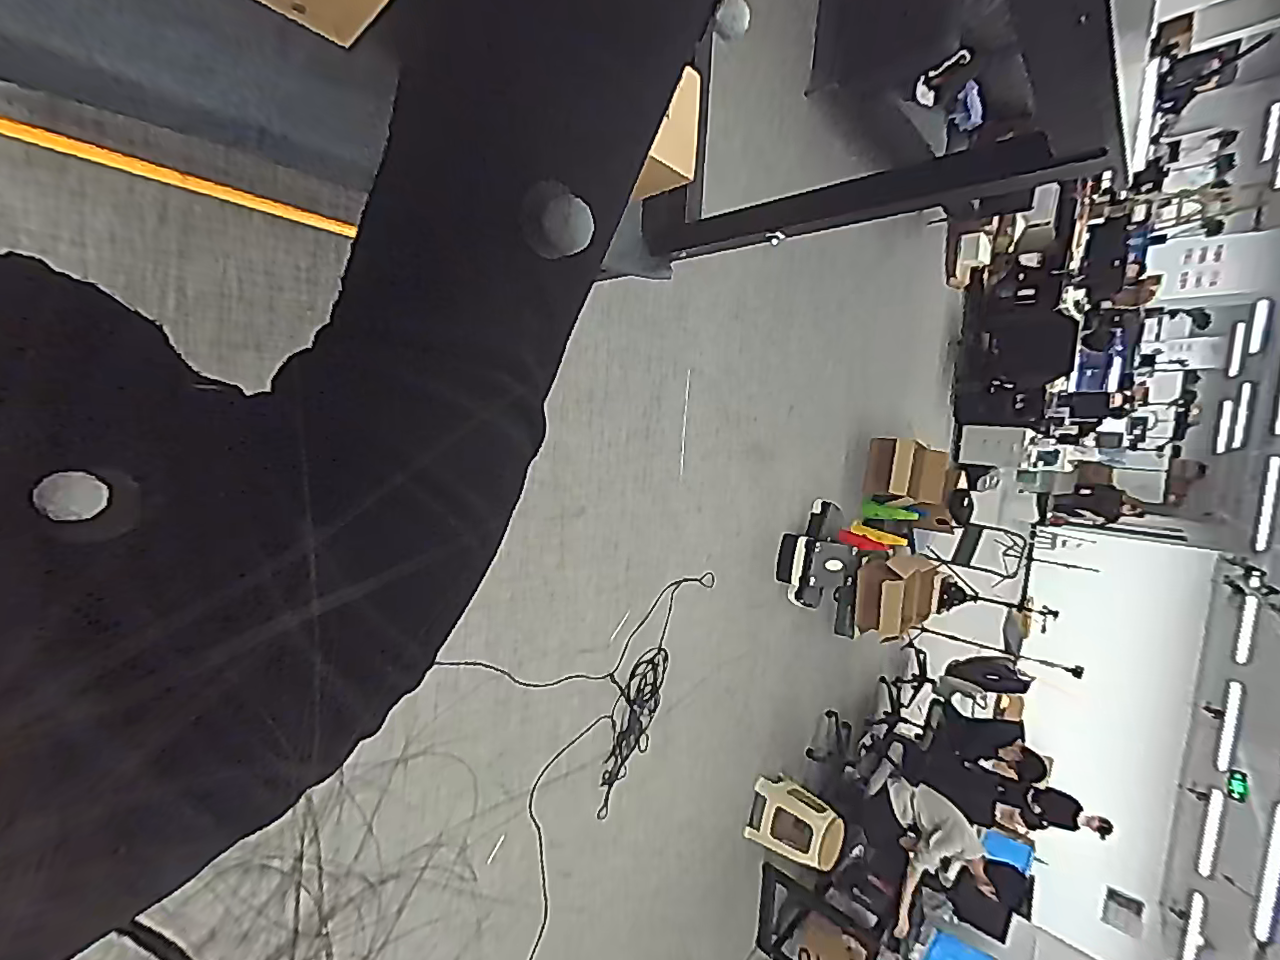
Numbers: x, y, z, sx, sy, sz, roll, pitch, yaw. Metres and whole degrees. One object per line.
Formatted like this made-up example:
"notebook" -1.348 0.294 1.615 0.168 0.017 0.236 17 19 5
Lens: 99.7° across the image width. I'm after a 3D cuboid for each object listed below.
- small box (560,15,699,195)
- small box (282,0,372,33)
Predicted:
"small box" -0.021 -0.614 0.919 0.168 0.176 0.179 -2 97 -47
"small box" -0.358 -0.625 0.559 0.168 0.176 0.179 -1 97 -47
